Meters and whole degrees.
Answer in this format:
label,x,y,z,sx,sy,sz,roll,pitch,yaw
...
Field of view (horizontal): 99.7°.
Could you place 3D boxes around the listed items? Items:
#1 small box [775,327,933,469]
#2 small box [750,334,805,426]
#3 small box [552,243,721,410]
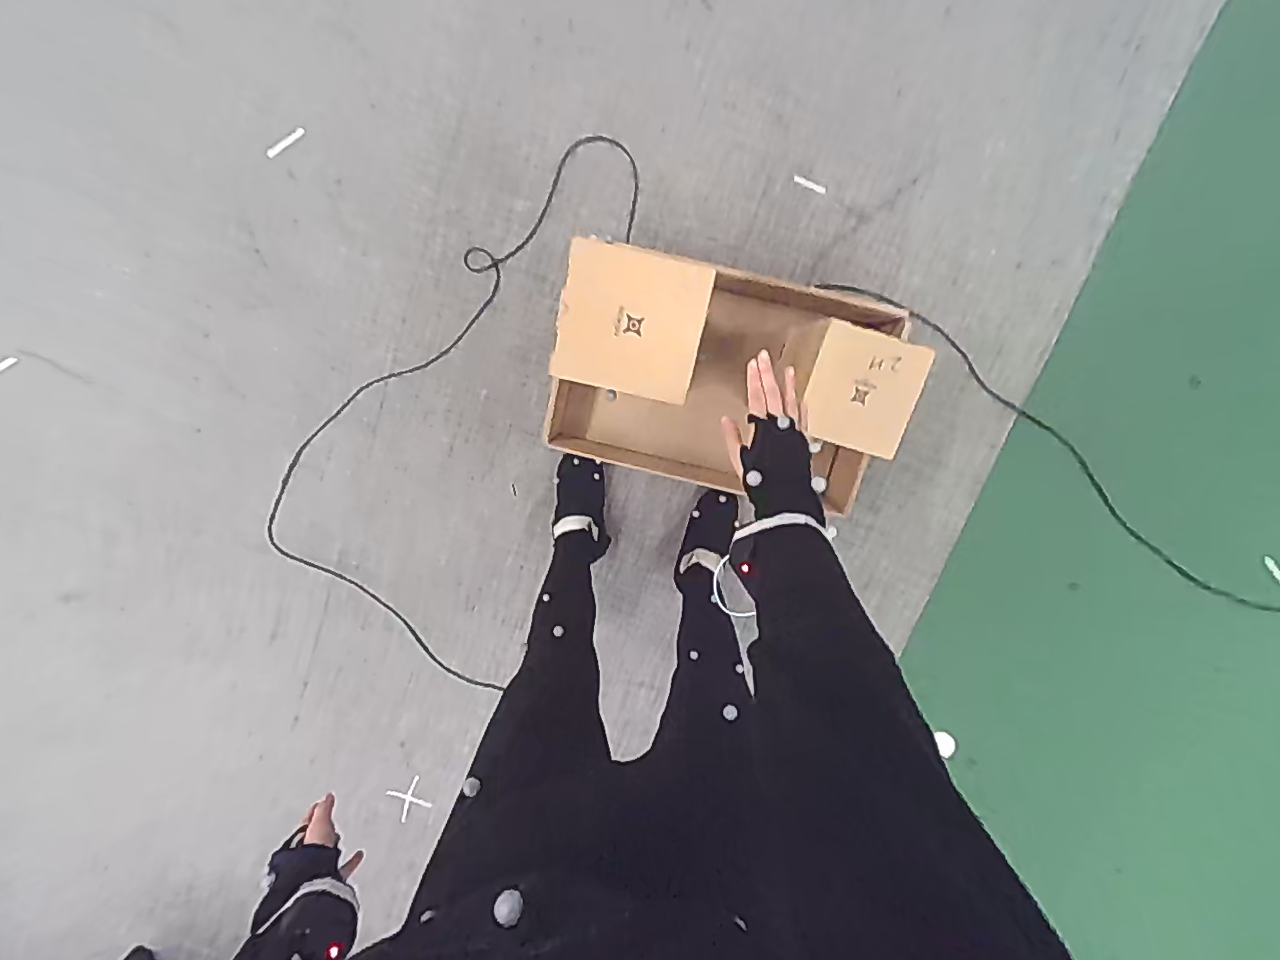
label,x,y,z,sx,sy,sz,roll,pitch,yaw
small box,0.336,-0.135,0.893,0.168,0.176,0.179,18,100,-2
small box,0.329,-0.172,1.055,0.179,0.176,0.168,18,101,-1
small box,-0.003,-0.201,0.730,0.179,0.176,0.168,14,103,0
